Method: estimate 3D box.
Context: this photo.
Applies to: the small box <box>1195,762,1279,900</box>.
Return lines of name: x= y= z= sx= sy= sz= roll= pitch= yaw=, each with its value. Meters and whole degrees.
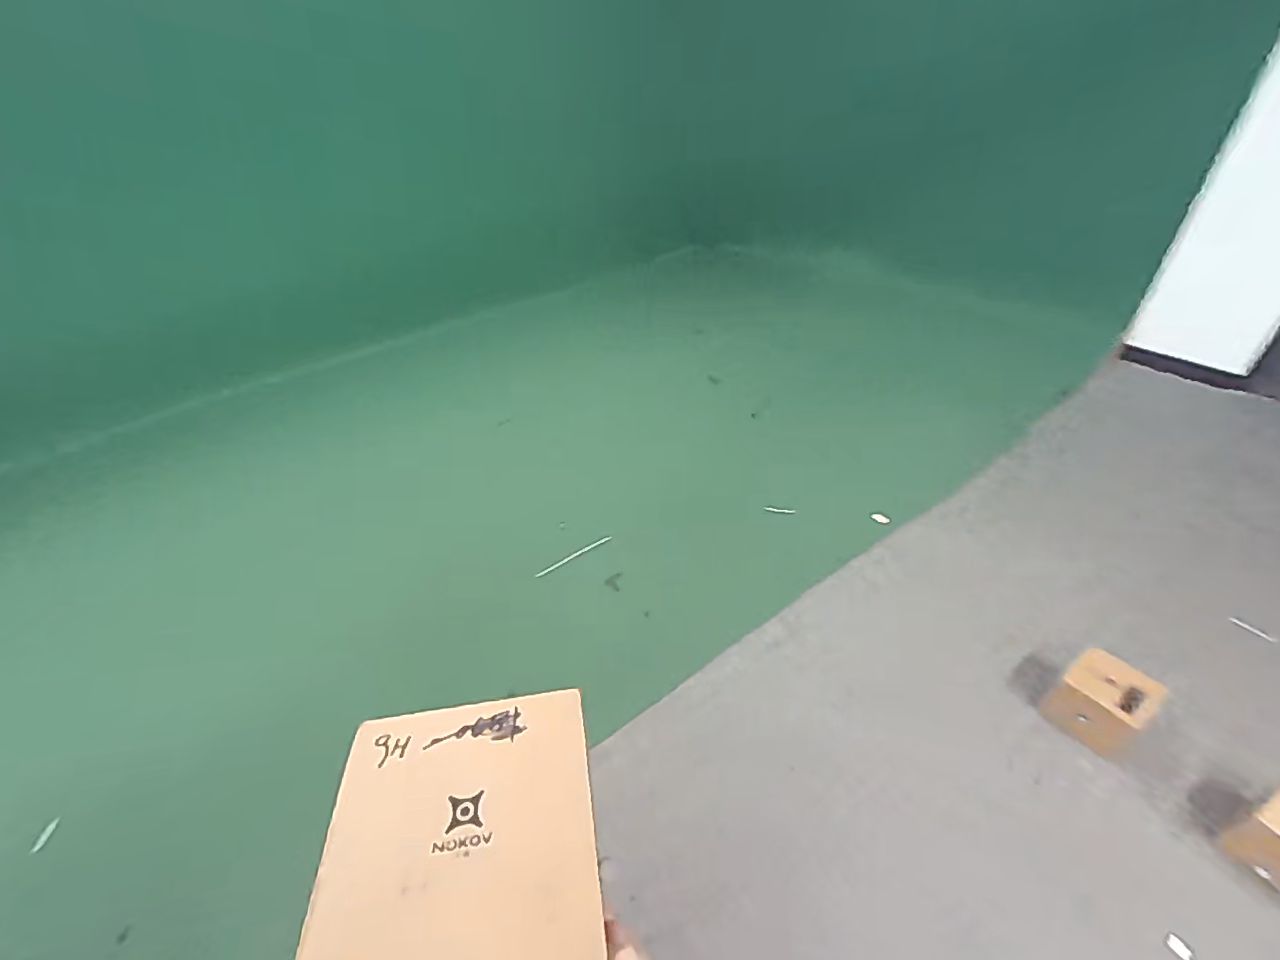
small box: x=1.370 y=0.753 z=1.161 sx=0.179 sy=0.176 sz=0.168 roll=-24 pitch=44 yaw=-18
